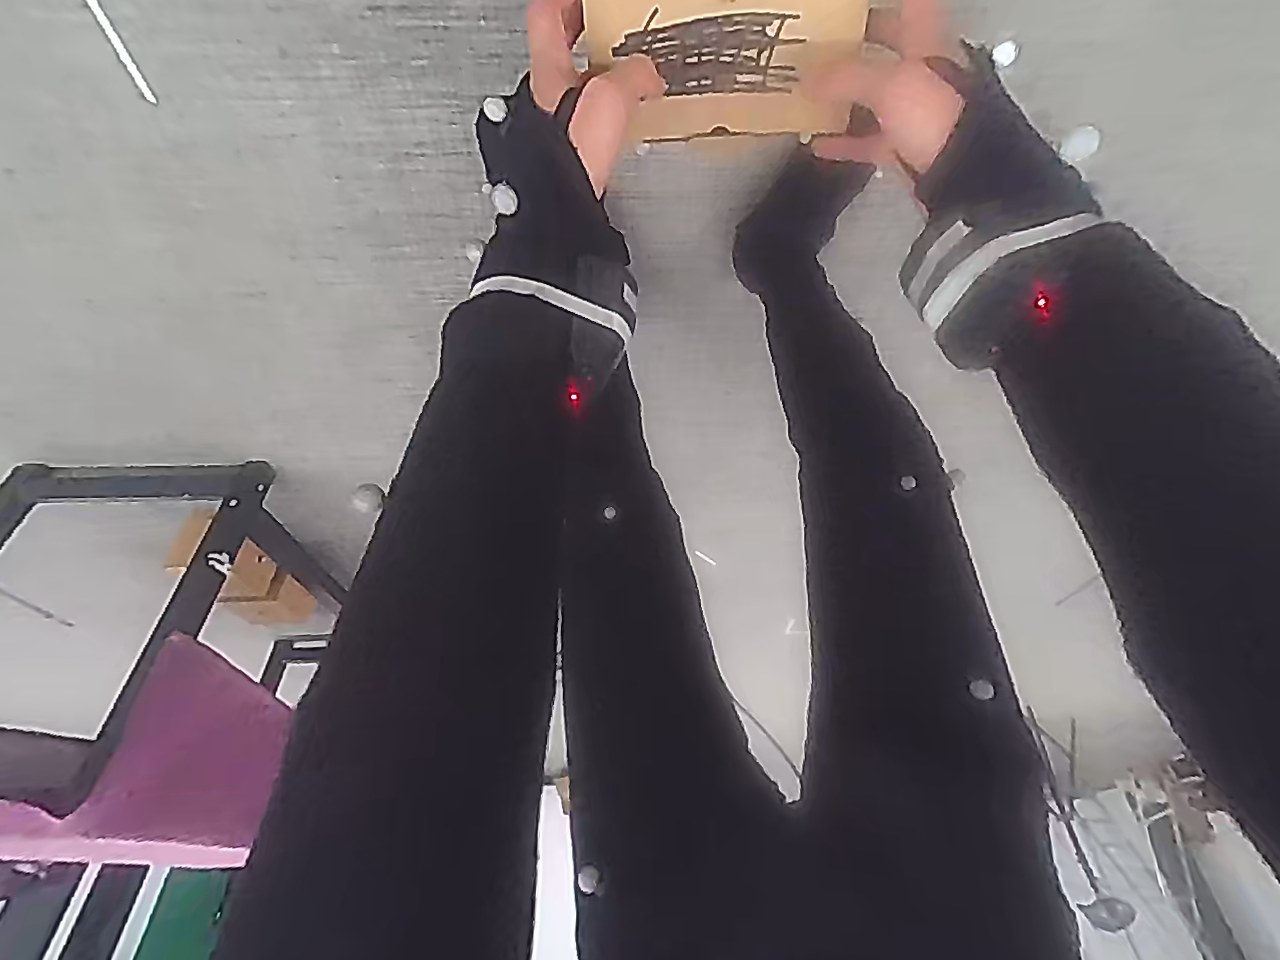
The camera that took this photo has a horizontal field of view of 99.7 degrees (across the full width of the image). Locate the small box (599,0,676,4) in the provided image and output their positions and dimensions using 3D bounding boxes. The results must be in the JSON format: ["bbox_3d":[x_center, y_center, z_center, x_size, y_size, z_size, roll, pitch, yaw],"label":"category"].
[{"bbox_3d":[0.034,-0.552,0.467,0.168,0.176,0.179,-2,145,1],"label":"small box"}]
